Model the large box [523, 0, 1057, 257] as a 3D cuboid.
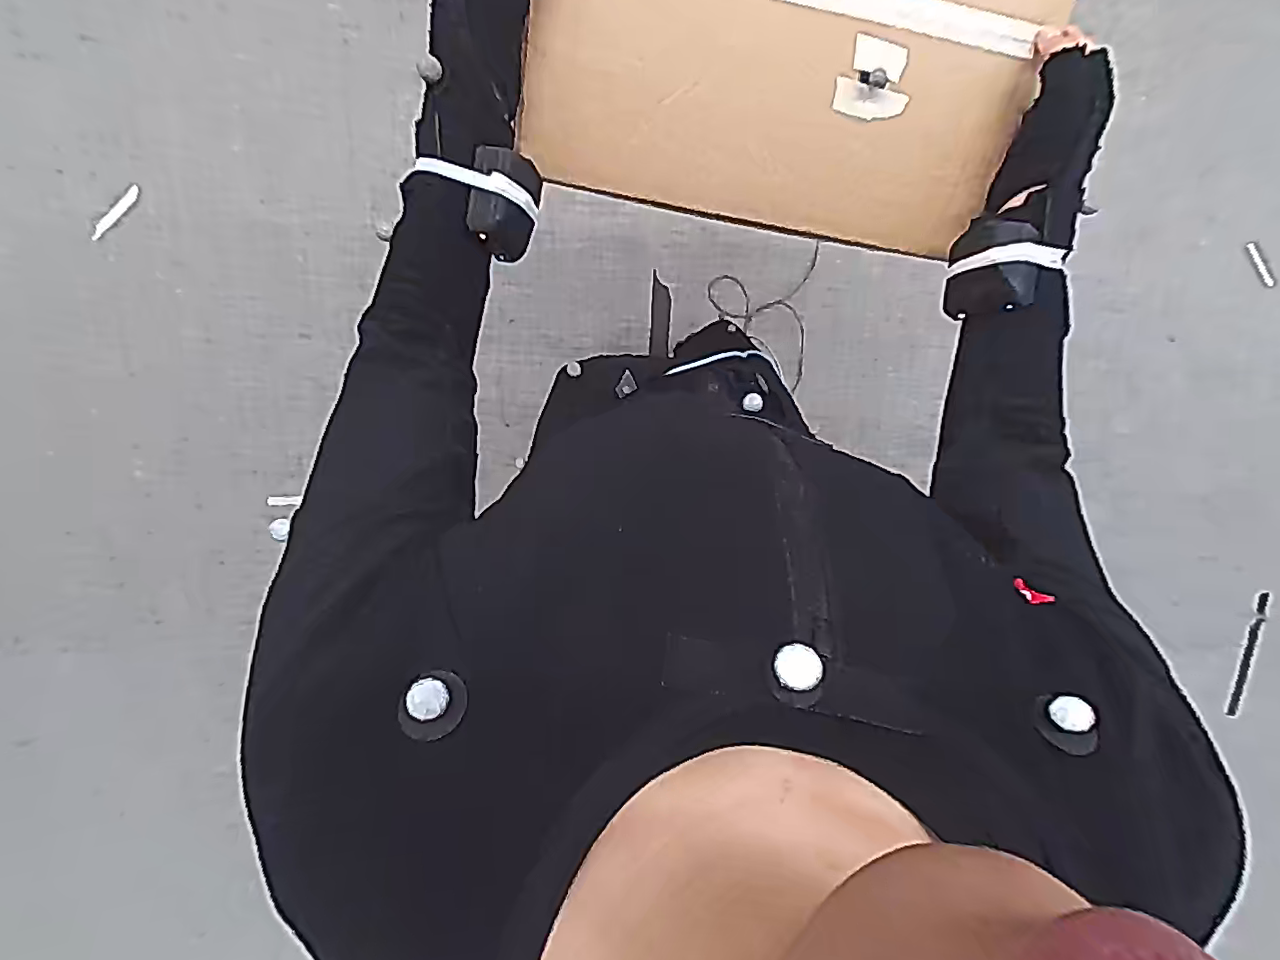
[{"bbox_3d":[0.110,-0.433,0.541,0.408,0.320,0.320,8,118,-8],"label":"large box"}]
